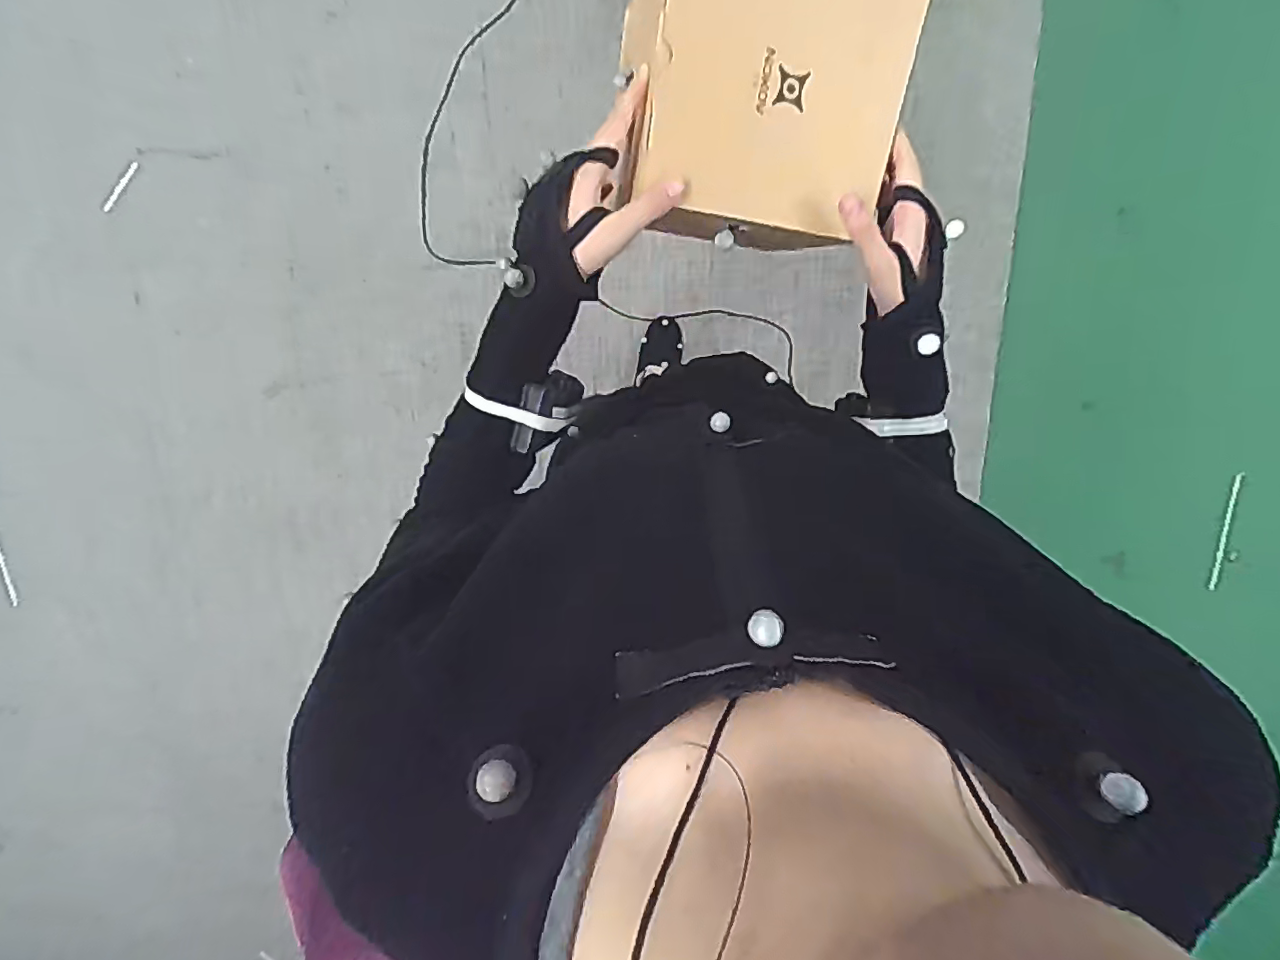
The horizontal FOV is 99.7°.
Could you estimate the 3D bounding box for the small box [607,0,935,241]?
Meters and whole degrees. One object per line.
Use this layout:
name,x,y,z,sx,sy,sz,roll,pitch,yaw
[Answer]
small box,0.080,-0.287,0.417,0.179,0.176,0.168,4,110,-13
